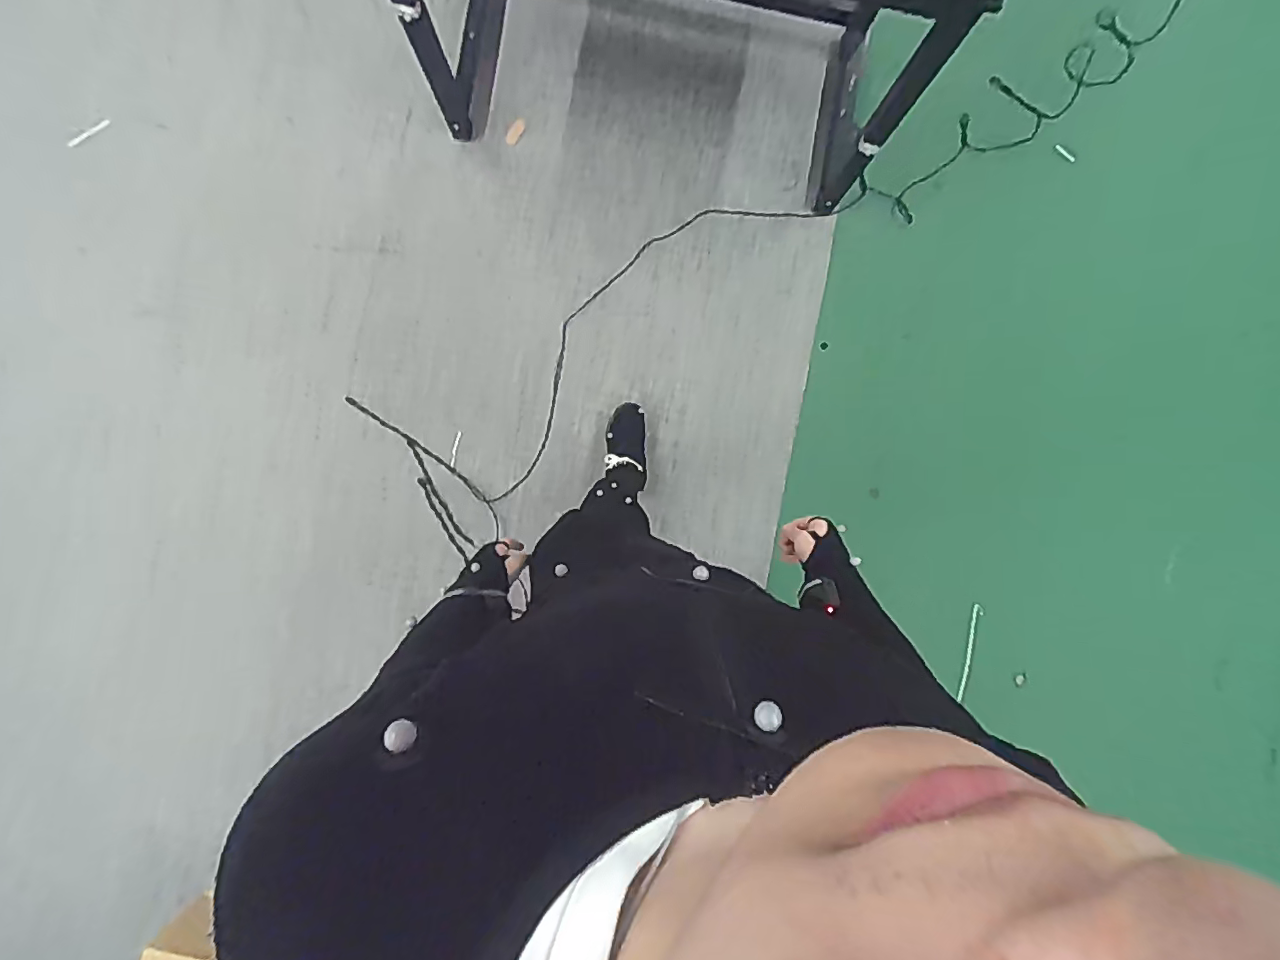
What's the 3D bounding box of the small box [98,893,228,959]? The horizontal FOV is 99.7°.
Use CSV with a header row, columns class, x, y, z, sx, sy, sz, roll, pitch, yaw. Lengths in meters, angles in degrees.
class,x,y,z,sx,sy,sz,roll,pitch,yaw
small box,-1.119,1.114,1.263,0.179,0.176,0.168,15,88,-5
